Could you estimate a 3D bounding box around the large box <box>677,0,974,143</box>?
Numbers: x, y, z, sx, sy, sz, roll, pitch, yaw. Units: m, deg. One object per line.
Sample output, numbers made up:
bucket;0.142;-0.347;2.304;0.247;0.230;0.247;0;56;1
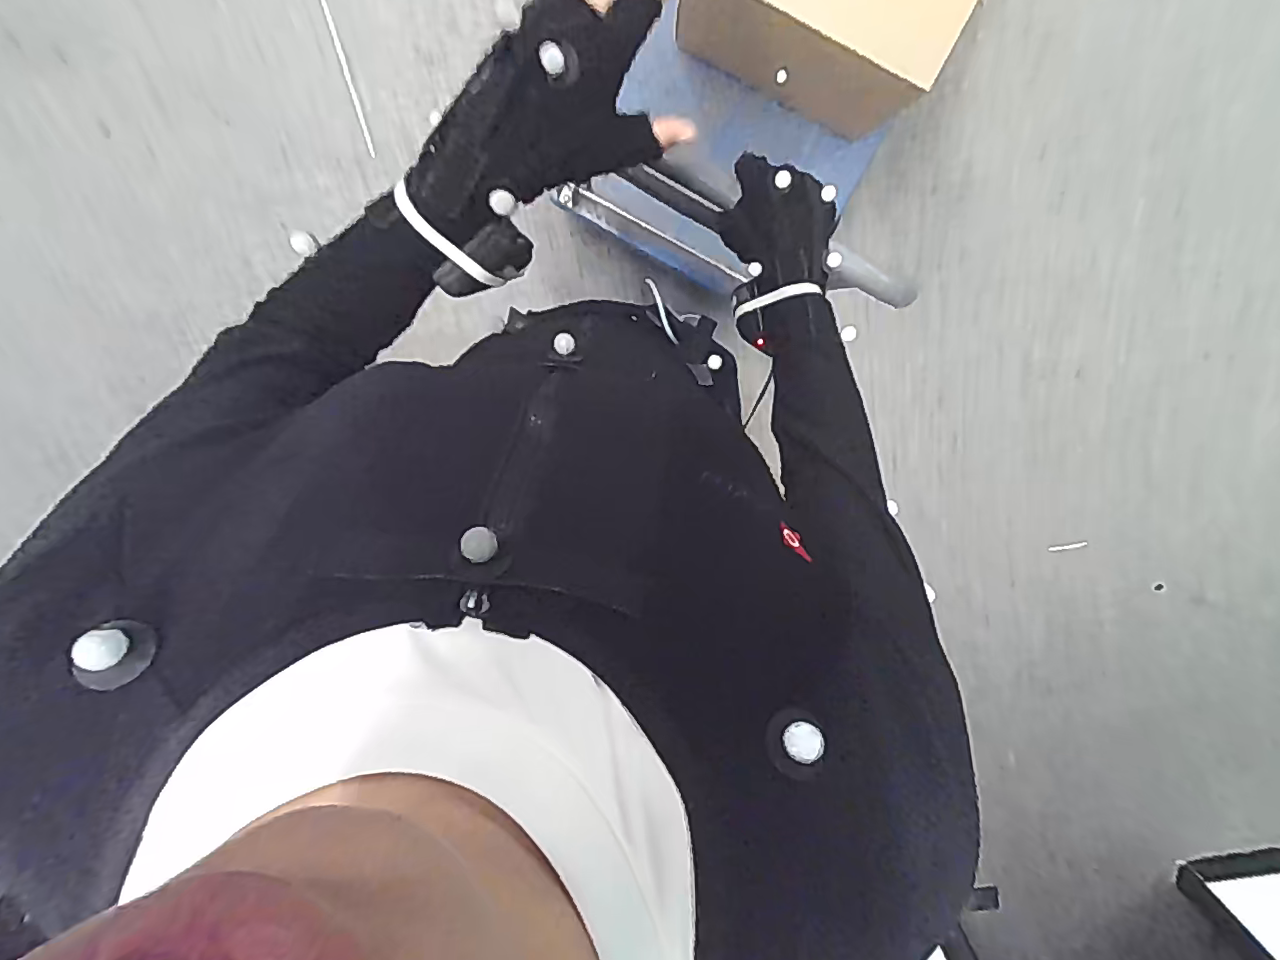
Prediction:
large box;0.305;-0.820;0.875;0.408;0.320;0.320;22;108;-7
